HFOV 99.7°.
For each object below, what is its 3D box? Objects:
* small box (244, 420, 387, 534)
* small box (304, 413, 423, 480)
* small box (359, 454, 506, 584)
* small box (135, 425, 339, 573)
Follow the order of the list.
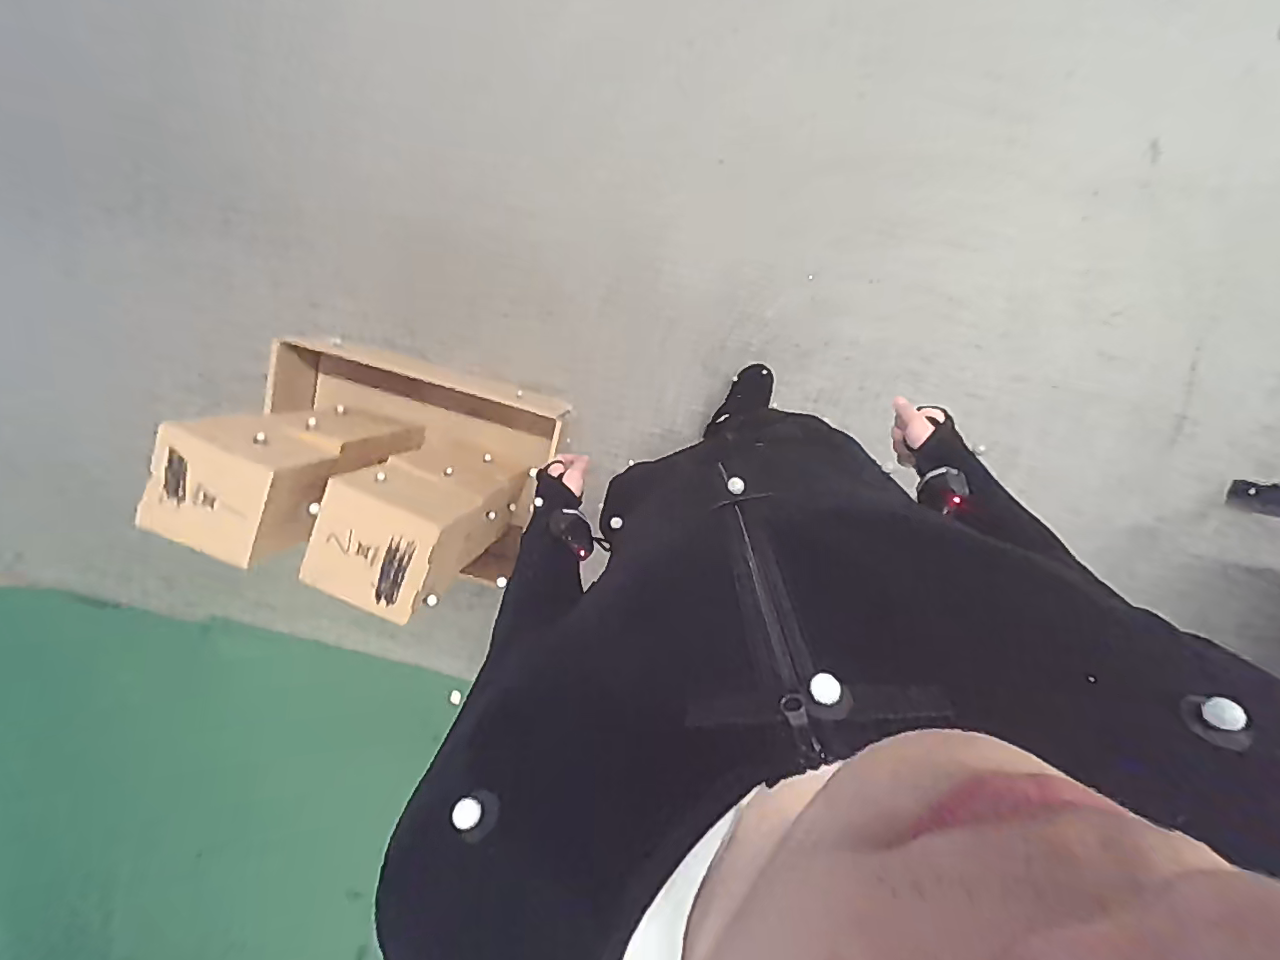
[{"bbox_3d":[-0.612,-0.014,1.019,0.179,0.176,0.168,14,100,0],"label":"small box"},{"bbox_3d":[-0.605,-0.046,1.178,0.179,0.176,0.168,14,102,0],"label":"small box"},{"bbox_3d":[-0.376,0.062,1.011,0.179,0.176,0.168,26,101,1],"label":"small box"},{"bbox_3d":[-0.626,0.018,0.859,0.179,0.176,0.168,23,101,-2],"label":"small box"}]
